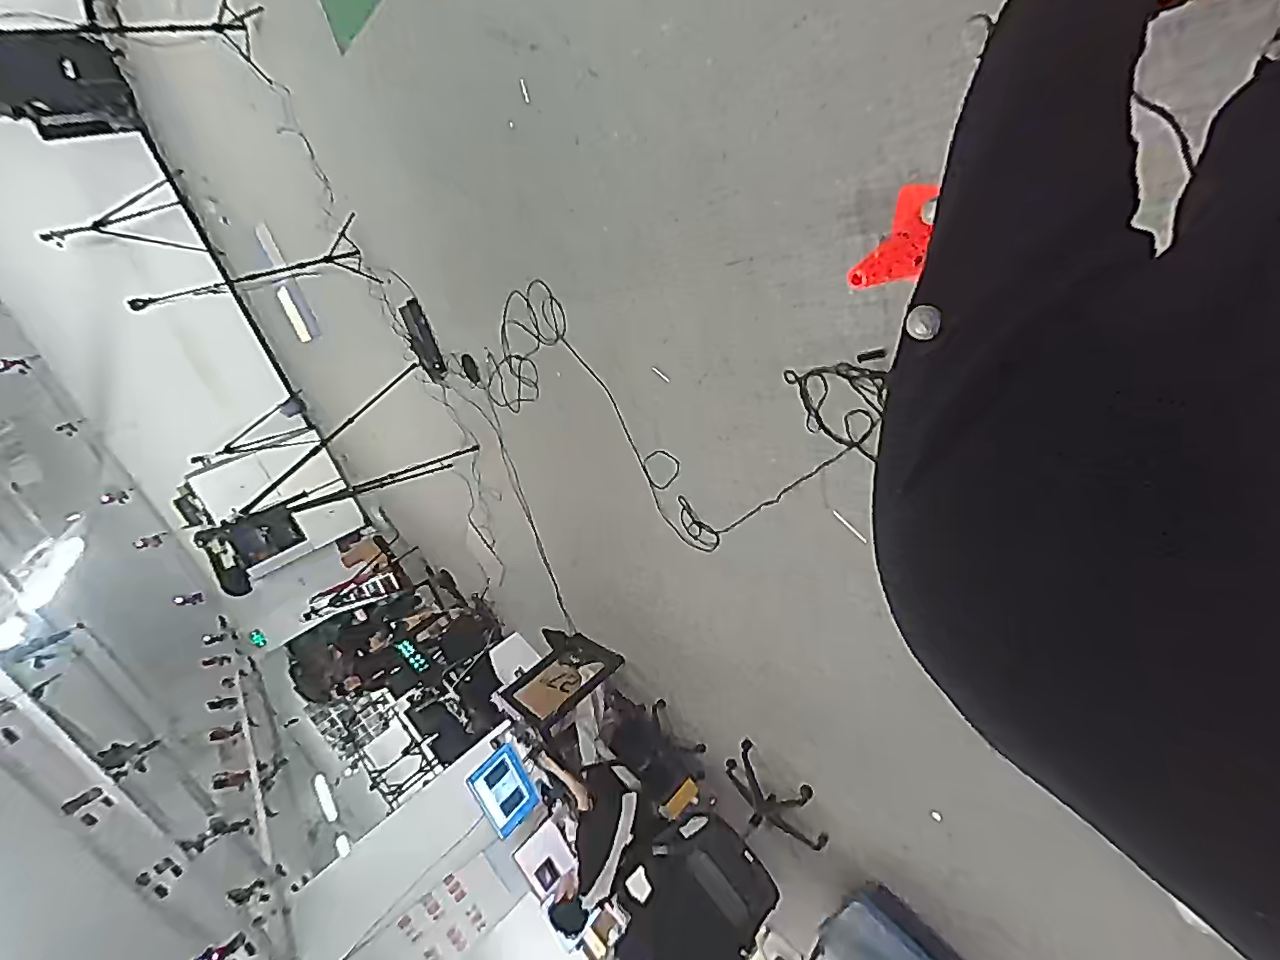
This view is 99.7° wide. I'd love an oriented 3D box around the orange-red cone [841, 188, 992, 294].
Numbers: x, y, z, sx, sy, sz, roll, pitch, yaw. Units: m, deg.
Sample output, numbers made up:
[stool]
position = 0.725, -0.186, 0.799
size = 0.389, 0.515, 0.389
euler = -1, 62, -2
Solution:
[orange-red cone]
position = 0.521, -0.455, 1.105
size = 0.199, 0.360, 0.198
euler = 33, 139, 37
